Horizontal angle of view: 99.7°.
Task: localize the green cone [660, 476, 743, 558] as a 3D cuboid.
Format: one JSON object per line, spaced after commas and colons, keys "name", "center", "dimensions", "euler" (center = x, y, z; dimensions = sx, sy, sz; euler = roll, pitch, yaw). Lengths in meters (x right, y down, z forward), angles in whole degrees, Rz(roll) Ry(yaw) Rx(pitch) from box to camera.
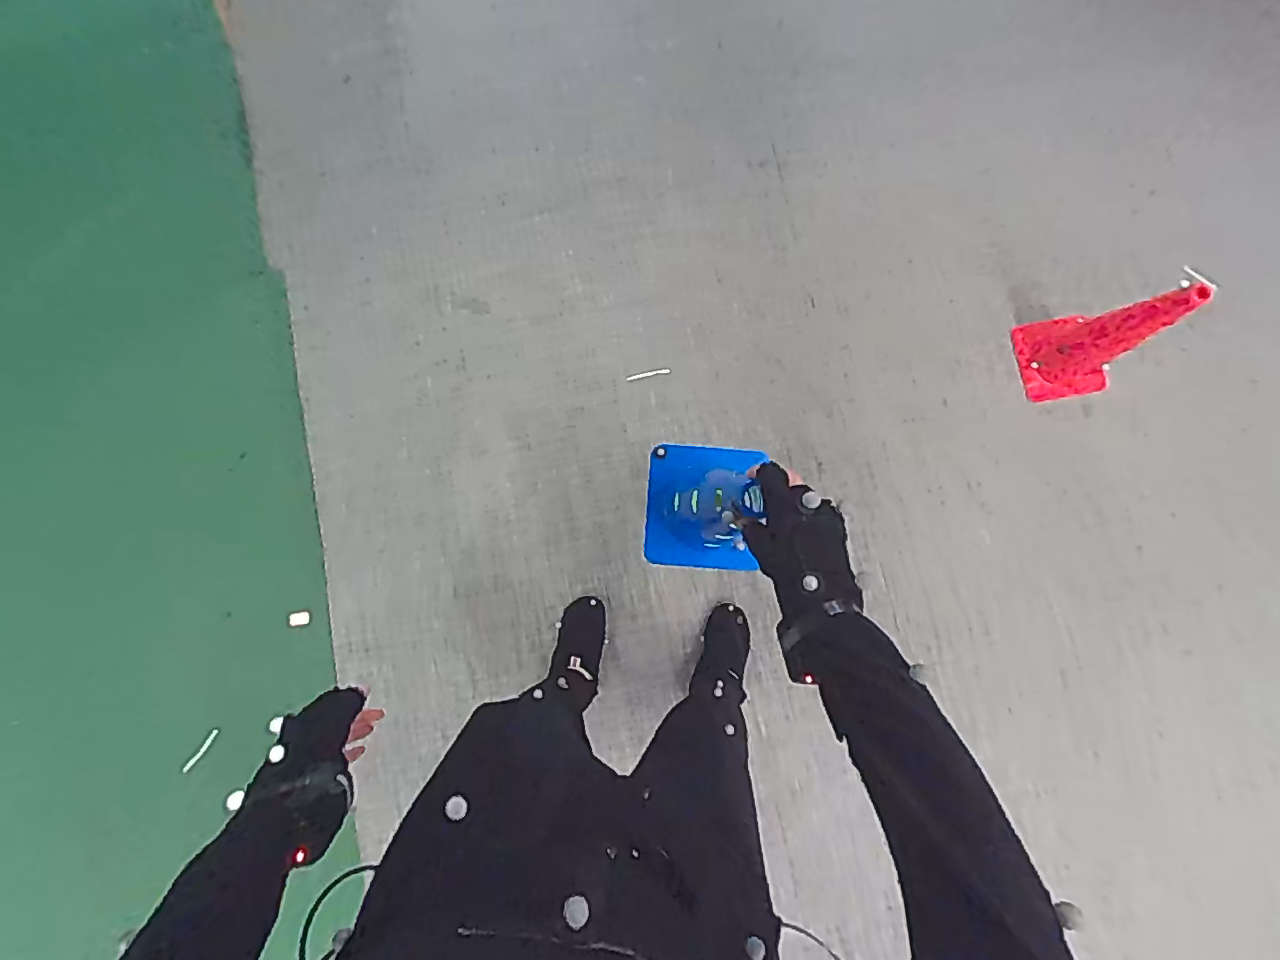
{"name": "green cone", "center": [0.147, 0.065, 1.153], "dimensions": [0.202, 0.368, 0.200], "euler": [1, 82, 1]}
